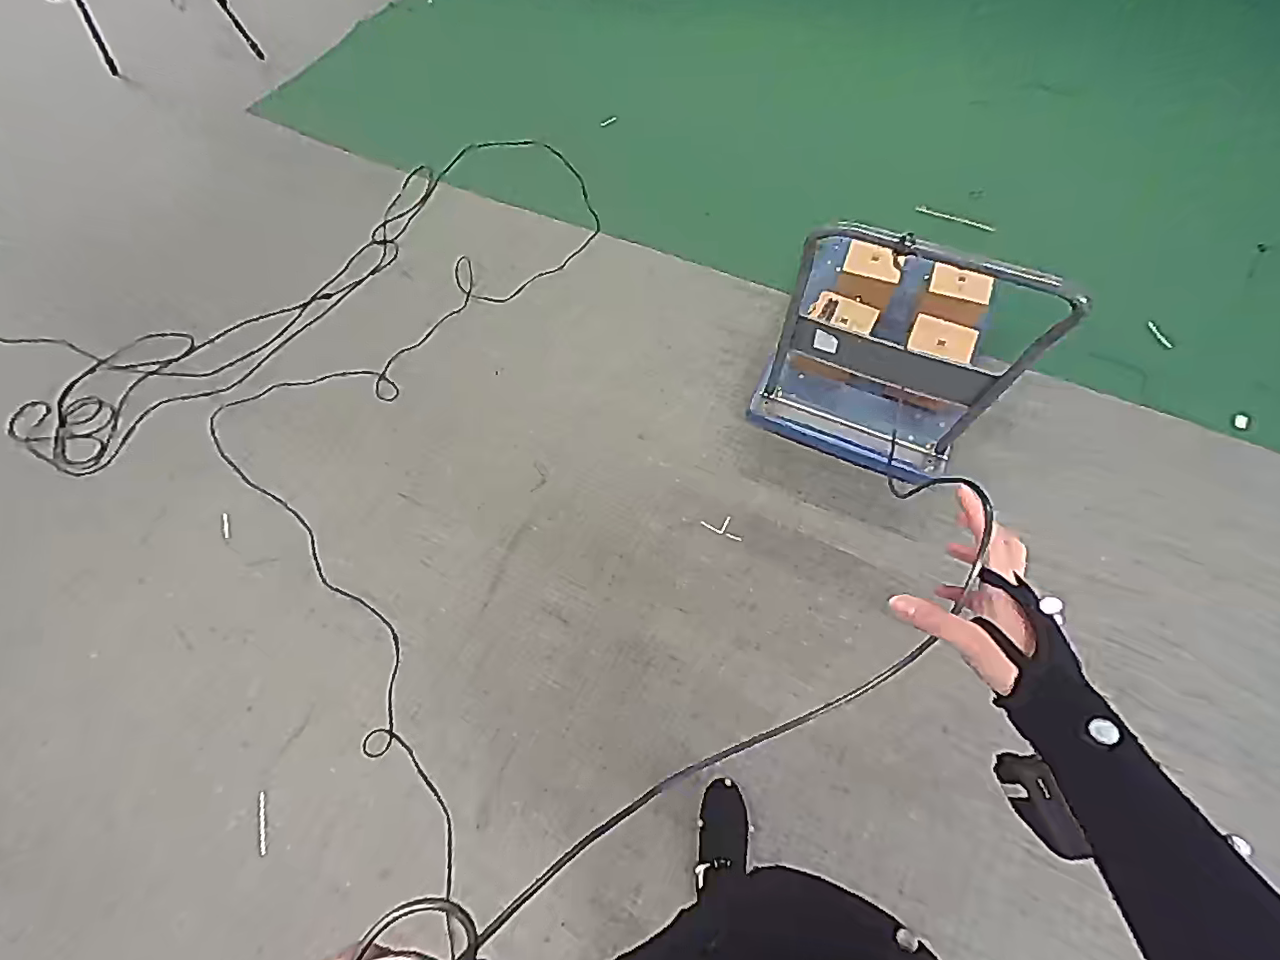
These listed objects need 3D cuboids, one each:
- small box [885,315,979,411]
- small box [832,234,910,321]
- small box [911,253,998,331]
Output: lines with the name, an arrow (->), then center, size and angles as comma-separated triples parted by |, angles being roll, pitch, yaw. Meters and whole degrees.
small box -> 0.832, -0.333, 1.552 | 0.168, 0.176, 0.179 | 24, 69, 14
small box -> 0.722, -0.634, 1.706 | 0.168, 0.176, 0.179 | 20, 67, 12
small box -> 0.954, -0.552, 1.651 | 0.168, 0.176, 0.179 | 20, 68, 13
